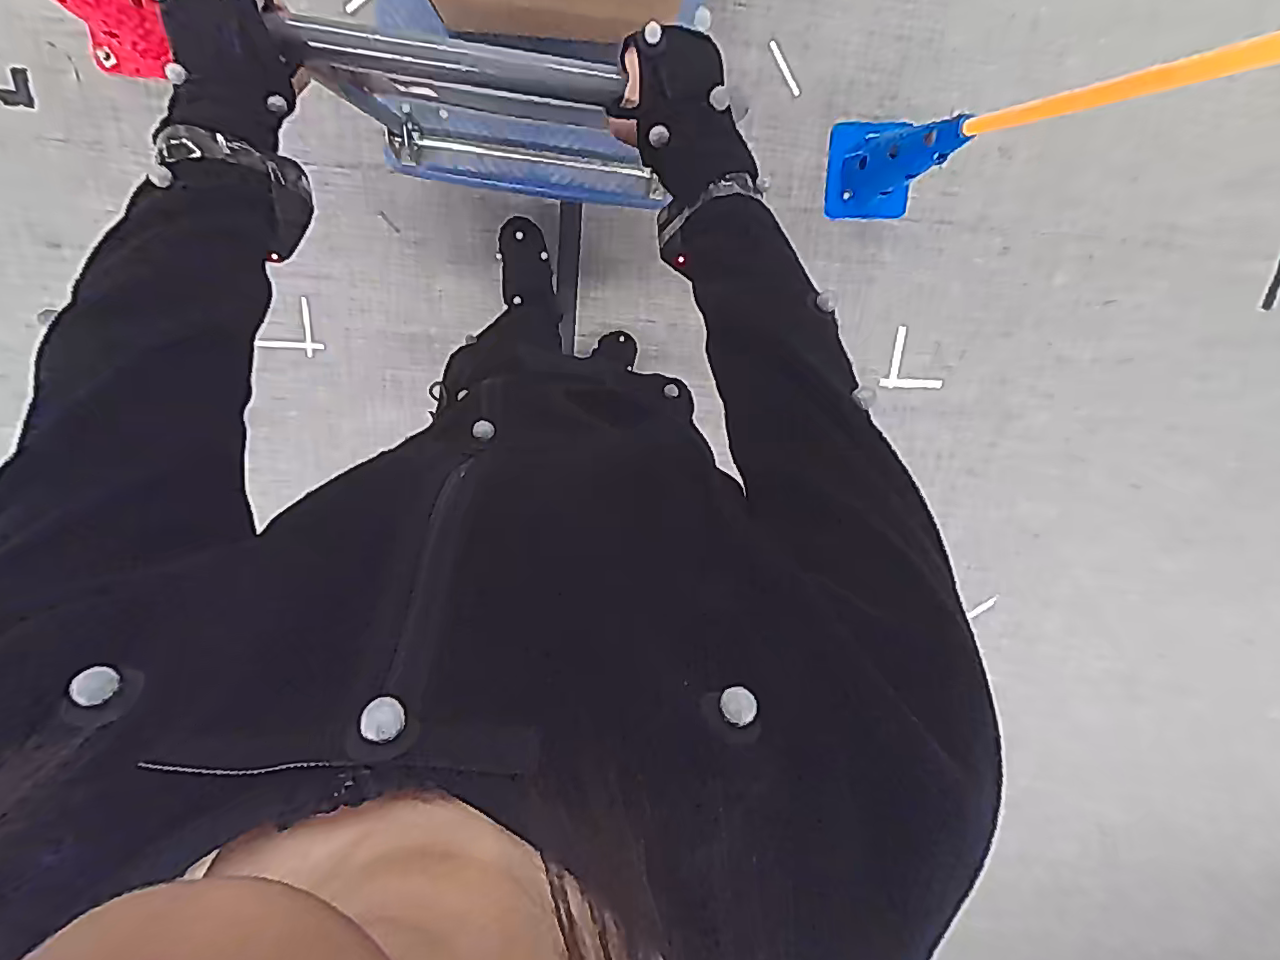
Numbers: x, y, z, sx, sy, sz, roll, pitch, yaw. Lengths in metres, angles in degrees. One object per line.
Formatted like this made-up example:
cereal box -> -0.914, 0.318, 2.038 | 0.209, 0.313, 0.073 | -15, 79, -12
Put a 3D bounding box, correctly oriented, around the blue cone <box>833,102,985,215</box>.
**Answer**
blue cone -> 0.555, -0.669, 1.095 | 0.193, 0.380, 0.192 | -1, 108, -5
